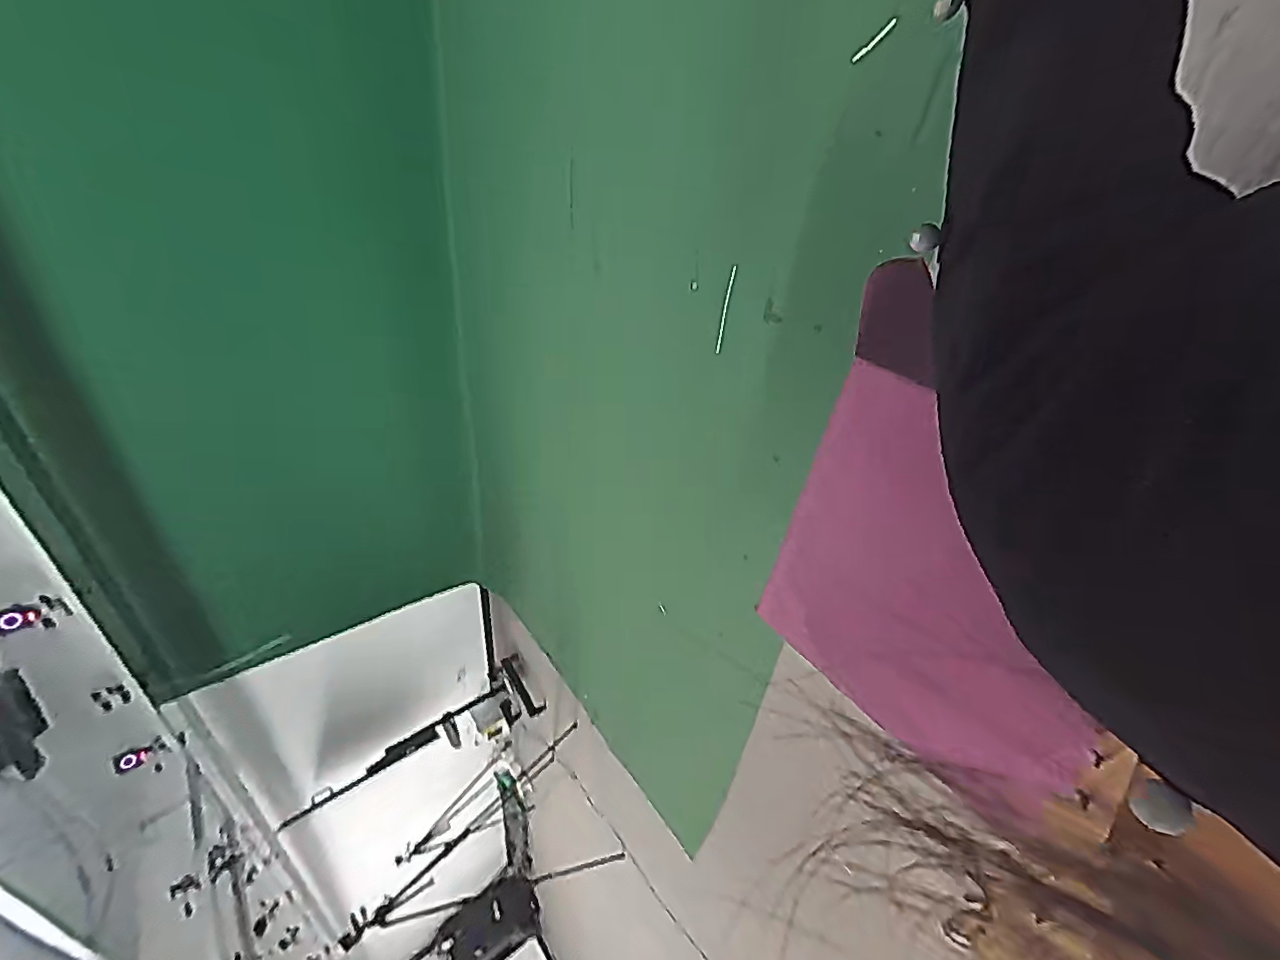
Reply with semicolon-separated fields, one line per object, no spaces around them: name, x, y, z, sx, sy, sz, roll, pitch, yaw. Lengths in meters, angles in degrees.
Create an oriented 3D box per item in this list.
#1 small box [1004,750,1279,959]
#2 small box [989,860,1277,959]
small box;0.486;0.389;0.482;0.179;0.176;0.168;42;138;35
small box;0.360;0.417;0.378;0.168;0.176;0.179;44;140;33
